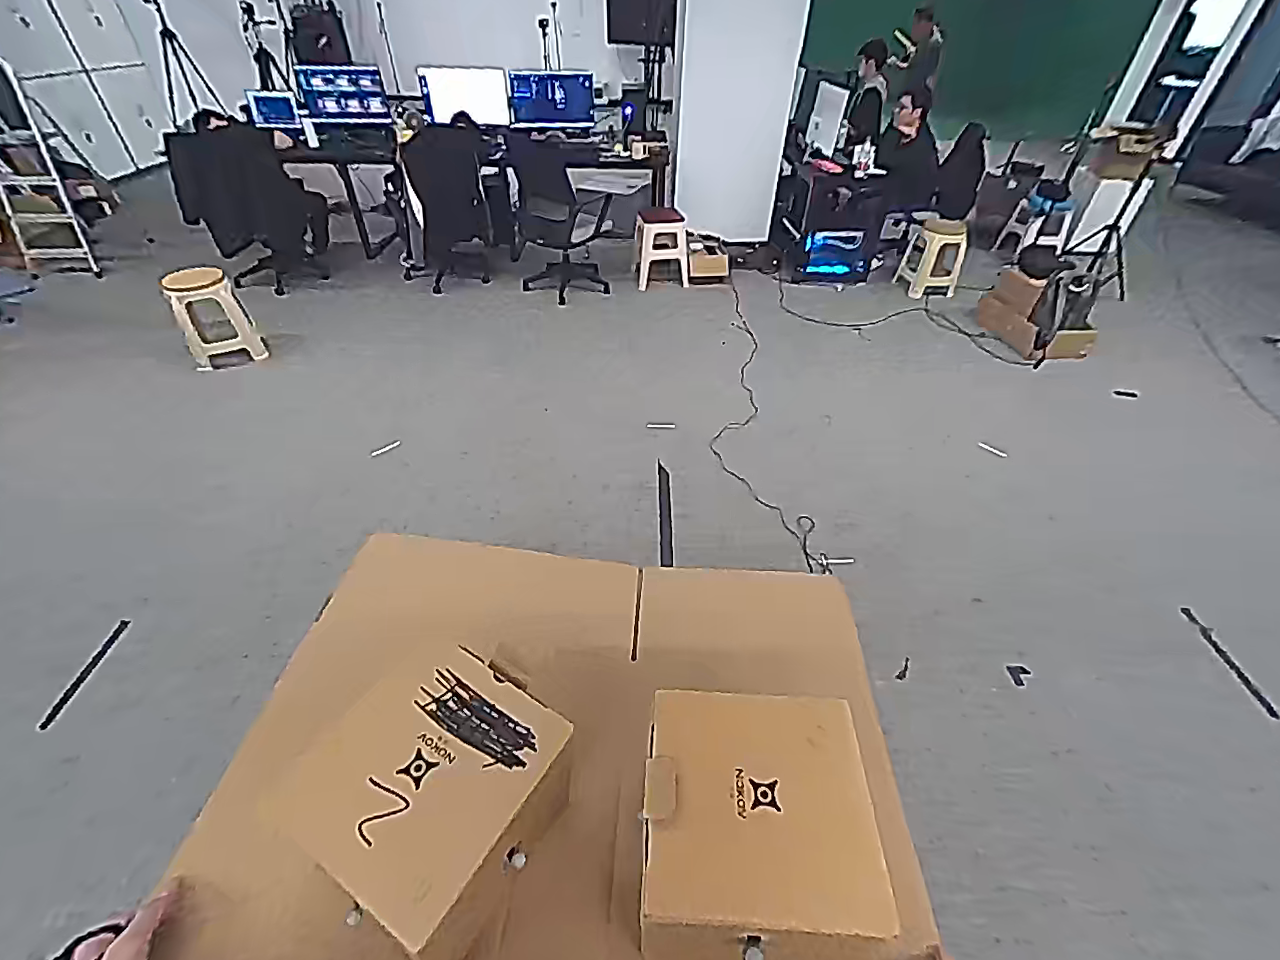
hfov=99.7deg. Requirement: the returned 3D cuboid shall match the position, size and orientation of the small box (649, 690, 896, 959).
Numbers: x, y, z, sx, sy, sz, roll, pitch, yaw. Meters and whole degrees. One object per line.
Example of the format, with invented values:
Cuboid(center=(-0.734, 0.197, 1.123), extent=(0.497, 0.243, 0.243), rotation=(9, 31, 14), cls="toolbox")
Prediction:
Cuboid(center=(0.100, 0.313, 0.492), extent=(0.179, 0.176, 0.168), rotation=(1, 41, 4), cls="small box")
